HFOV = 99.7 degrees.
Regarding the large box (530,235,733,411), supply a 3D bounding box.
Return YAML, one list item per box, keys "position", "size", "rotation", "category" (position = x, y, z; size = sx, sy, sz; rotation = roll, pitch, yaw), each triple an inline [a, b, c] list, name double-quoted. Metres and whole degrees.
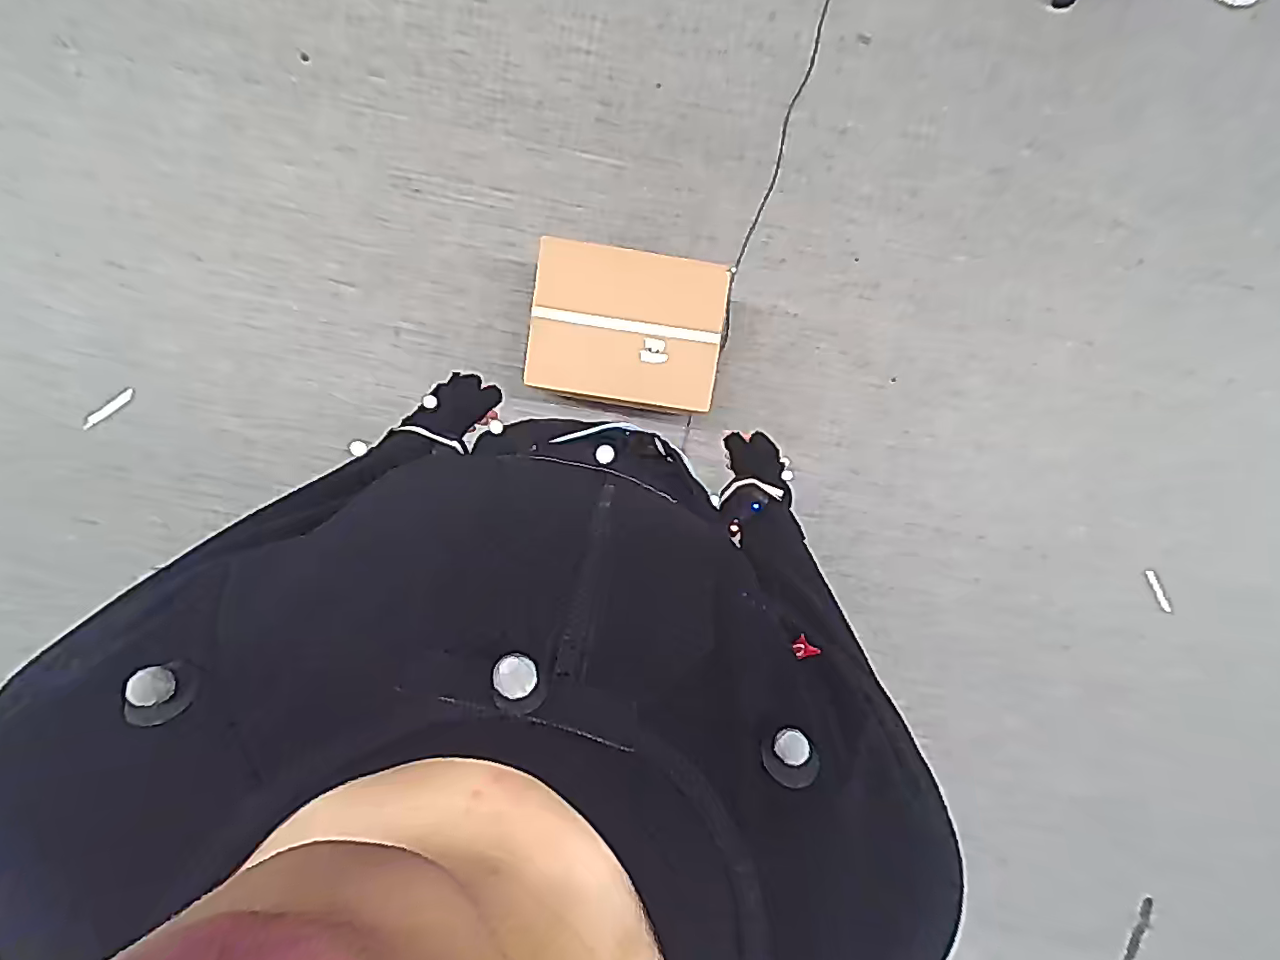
- position: [-0.025, -0.350, 1.300]
  size: [0.408, 0.320, 0.320]
  rotation: [9, 96, -3]
  category: "large box"
